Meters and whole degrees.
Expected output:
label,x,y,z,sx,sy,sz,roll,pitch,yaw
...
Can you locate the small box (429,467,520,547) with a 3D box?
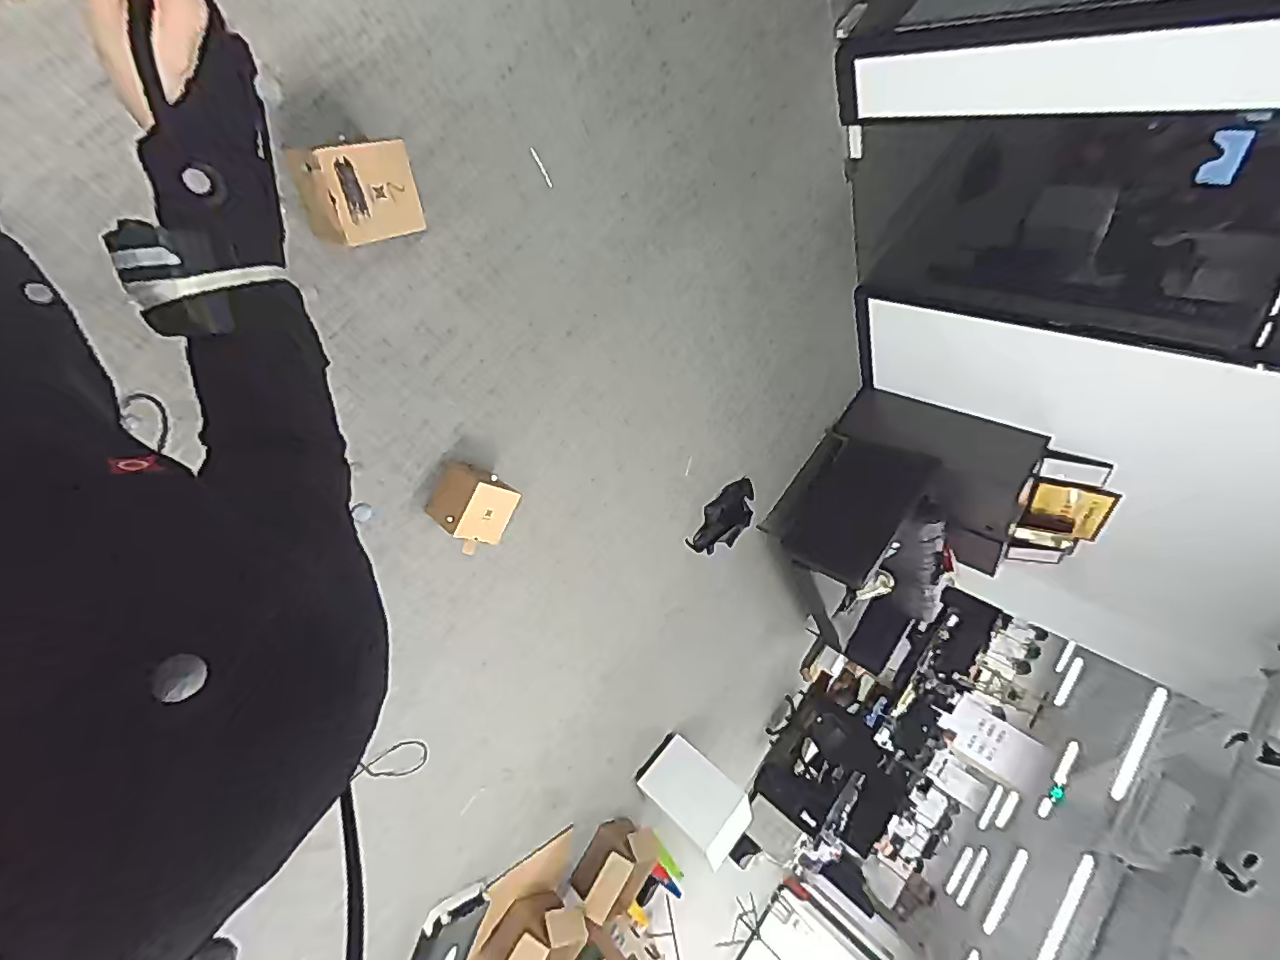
label,x,y,z,sx,sy,sz,roll,pitch,yaw
small box,-0.498,0.079,1.616,0.168,0.176,0.179,23,95,-53
